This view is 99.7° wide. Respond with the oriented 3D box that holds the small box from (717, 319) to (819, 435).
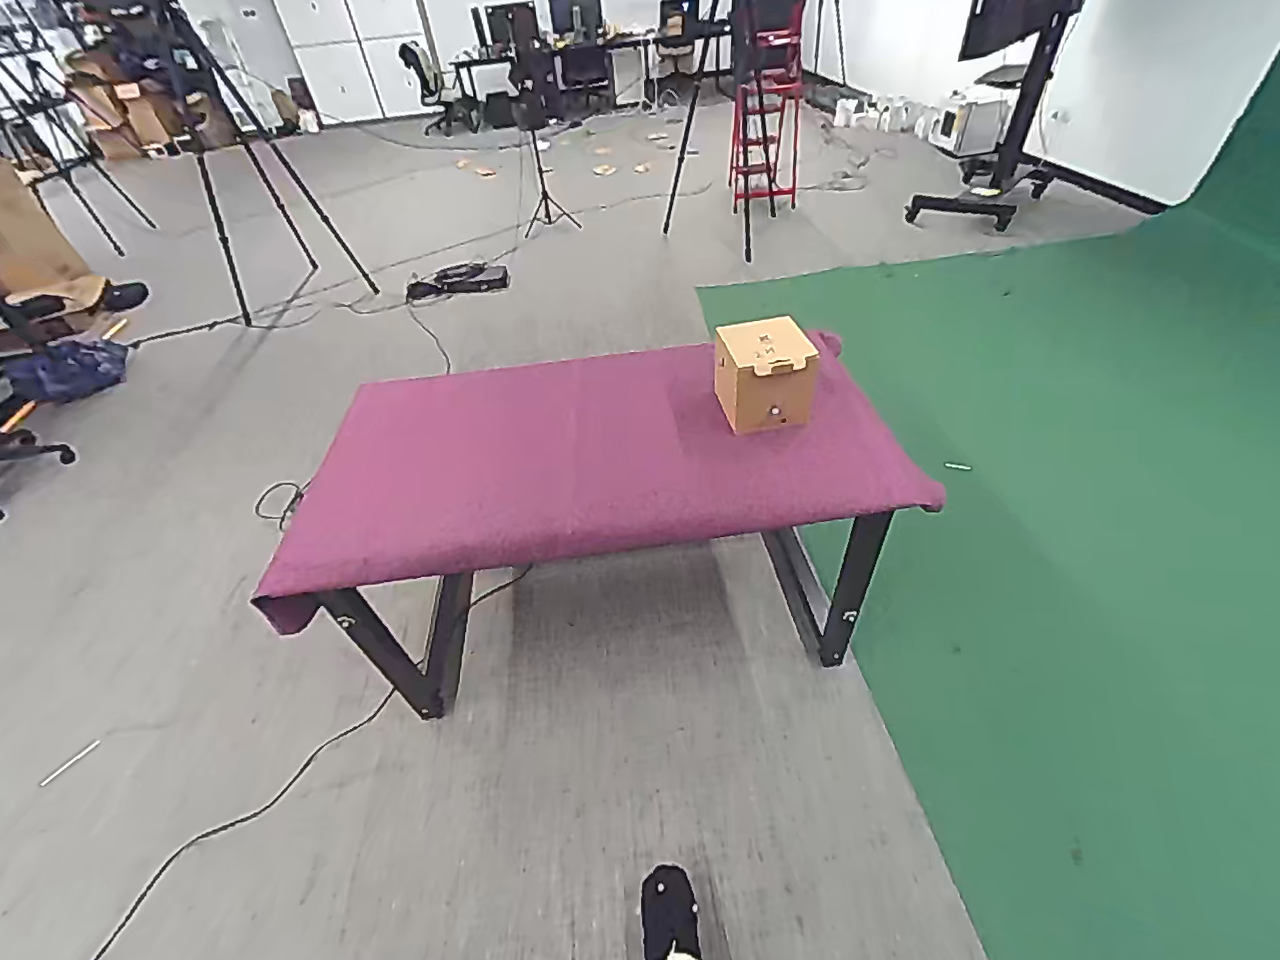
[{"bbox_3d":[0.264,-0.221,1.162,0.168,0.176,0.179,-10,44,-3],"label":"small box"}]
